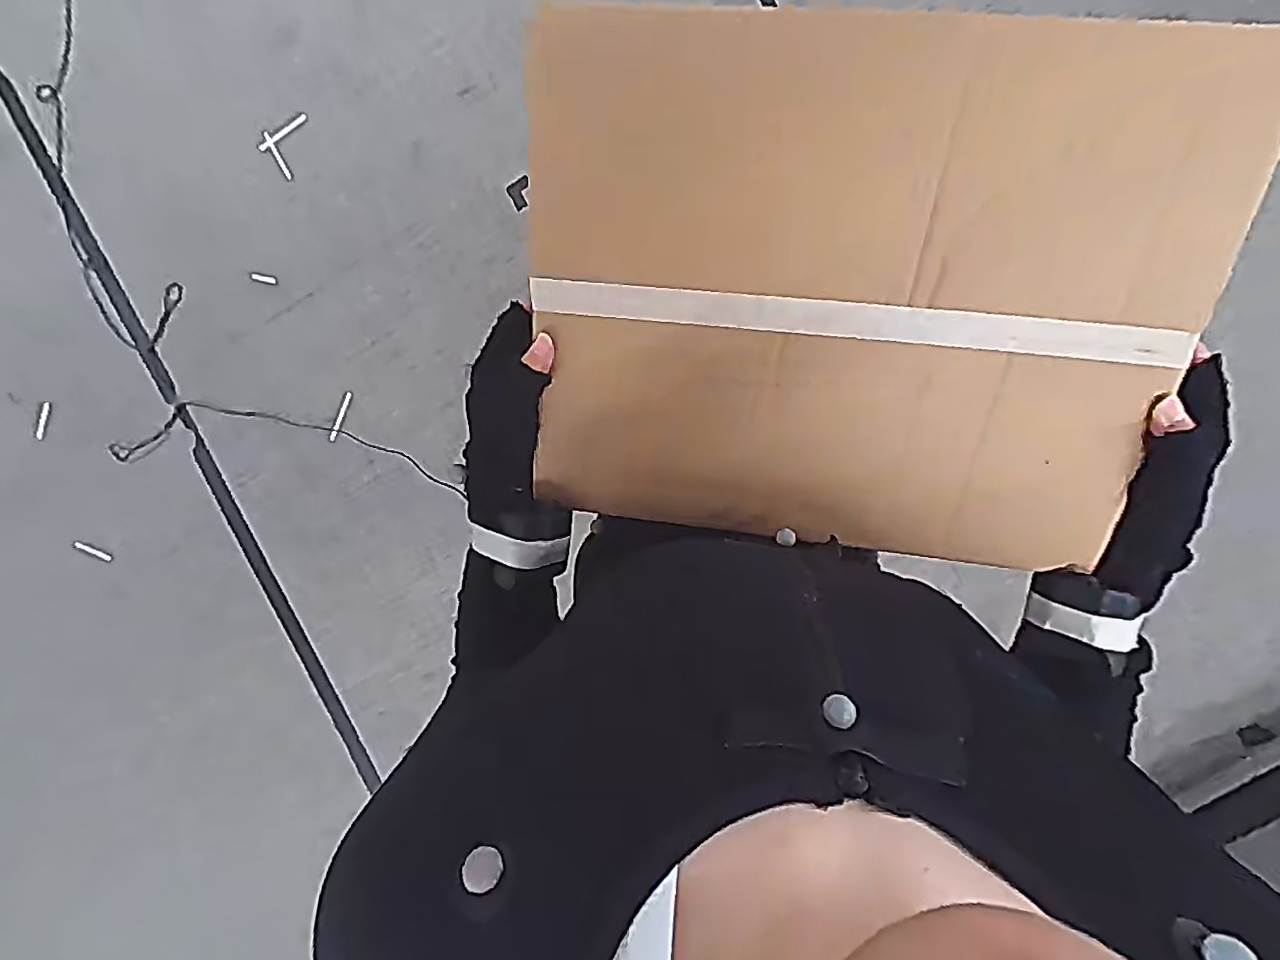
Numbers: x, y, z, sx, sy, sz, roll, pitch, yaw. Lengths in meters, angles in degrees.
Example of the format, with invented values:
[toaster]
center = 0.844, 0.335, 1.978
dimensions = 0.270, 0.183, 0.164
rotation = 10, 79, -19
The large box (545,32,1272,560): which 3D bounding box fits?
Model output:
[large box]
center = 0.147, -0.155, 0.496
dimensions = 0.408, 0.320, 0.320
rotation = 7, 113, 5
